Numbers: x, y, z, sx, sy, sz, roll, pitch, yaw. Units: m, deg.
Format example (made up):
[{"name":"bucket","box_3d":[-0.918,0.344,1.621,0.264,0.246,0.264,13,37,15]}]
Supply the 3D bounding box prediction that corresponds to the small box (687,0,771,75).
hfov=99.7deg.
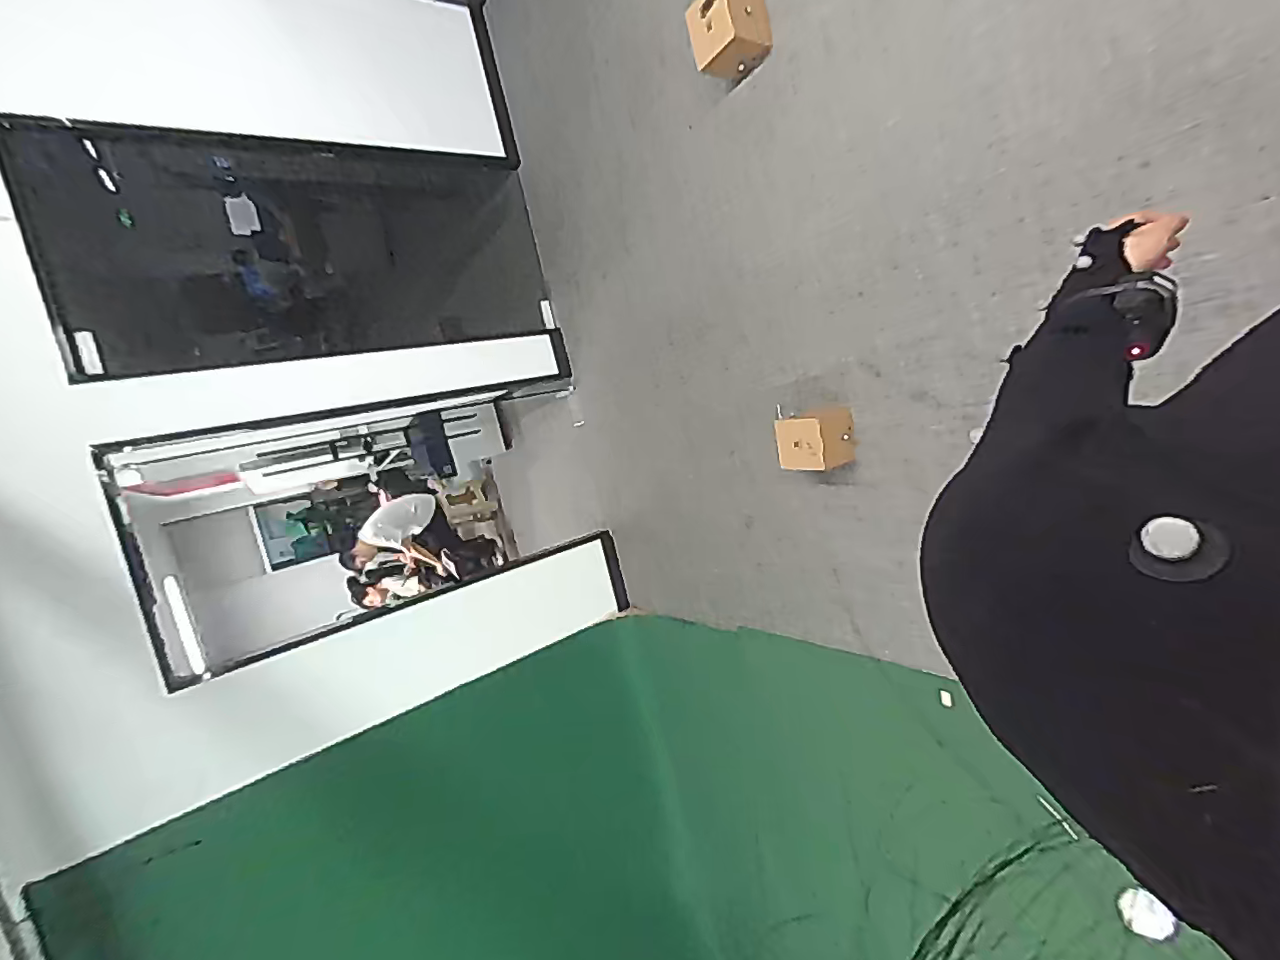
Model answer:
[{"name":"small box","box_3d":[0.272,-1.378,1.640,0.168,0.176,0.179,-3,102,56]}]

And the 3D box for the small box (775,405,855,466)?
[{"name":"small box","box_3d":[0.568,-0.146,1.750,0.179,0.176,0.168,5,108,55]}]
